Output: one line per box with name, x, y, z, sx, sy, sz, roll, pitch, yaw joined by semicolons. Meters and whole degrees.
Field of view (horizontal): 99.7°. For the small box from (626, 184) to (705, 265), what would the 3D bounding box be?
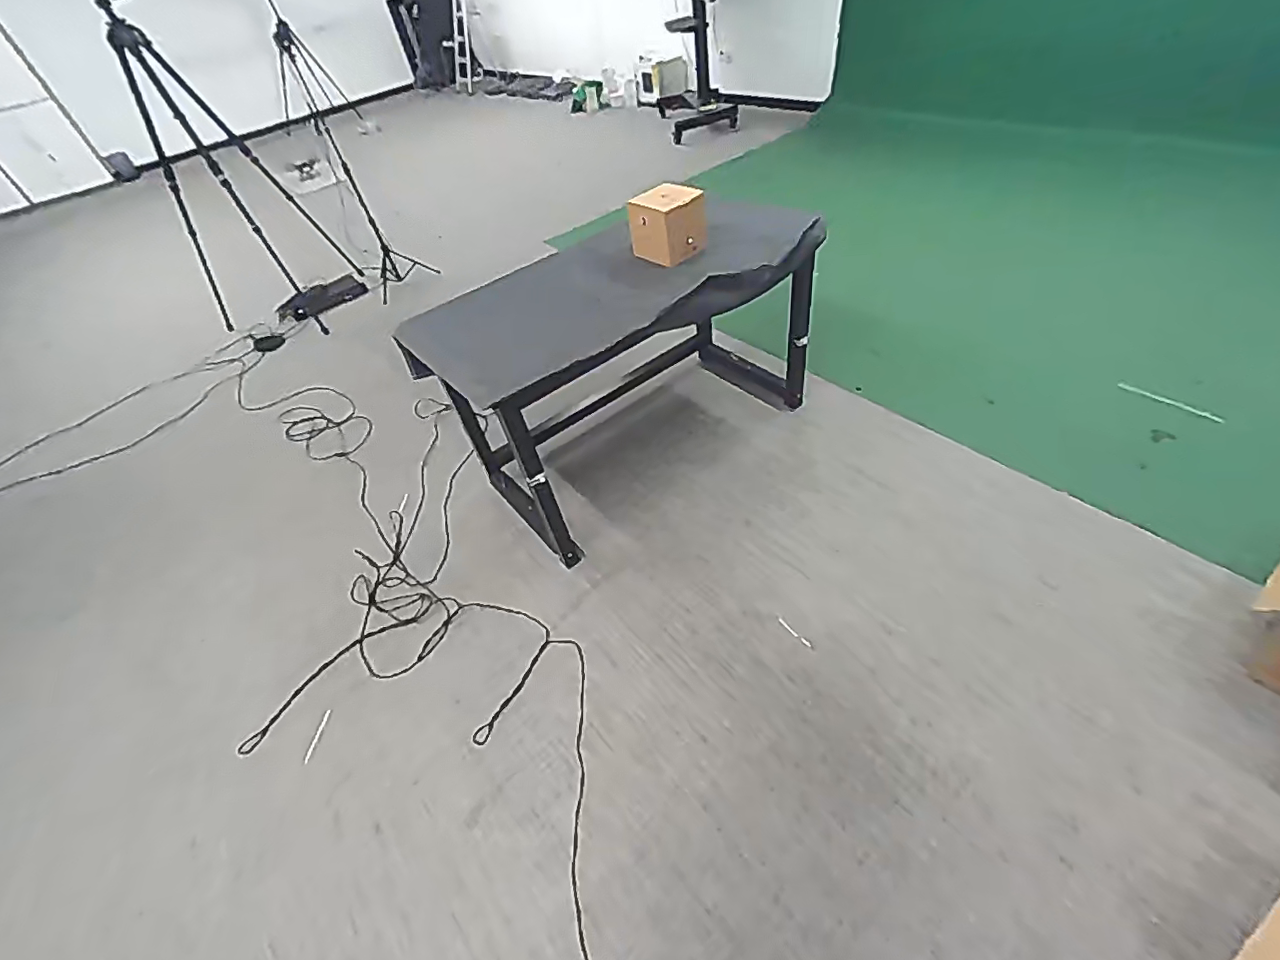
small box;0.082;-0.783;1.662;0.168;0.176;0.179;-37;51;-22
